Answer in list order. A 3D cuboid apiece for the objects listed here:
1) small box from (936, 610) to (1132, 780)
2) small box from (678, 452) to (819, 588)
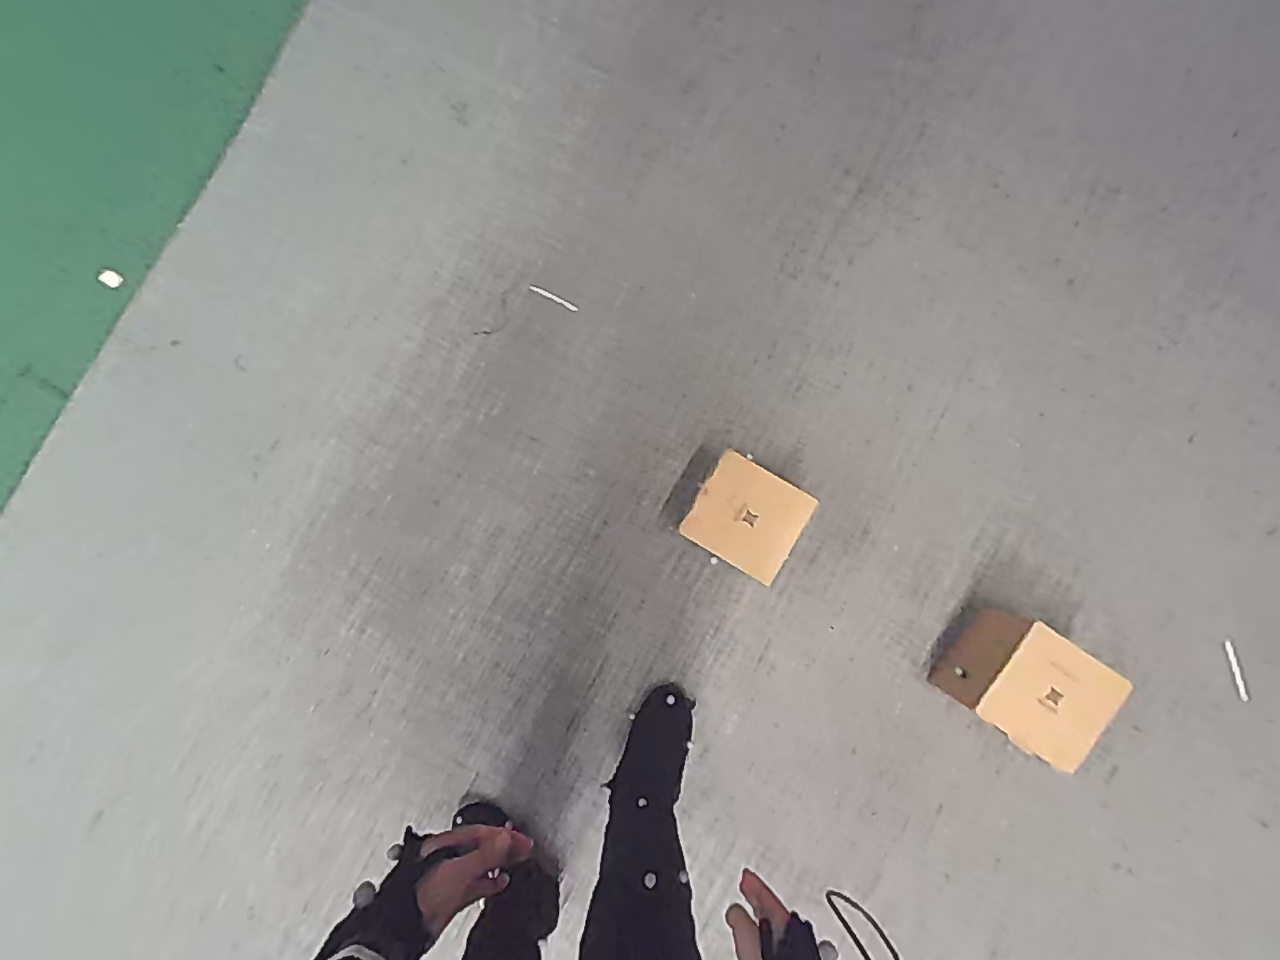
[{"bbox_3d":[0.628,0.340,0.892,0.168,0.176,0.179,35,88,7],"label":"small box"},{"bbox_3d":[0.186,0.069,0.963,0.179,0.176,0.168,31,89,8],"label":"small box"}]
